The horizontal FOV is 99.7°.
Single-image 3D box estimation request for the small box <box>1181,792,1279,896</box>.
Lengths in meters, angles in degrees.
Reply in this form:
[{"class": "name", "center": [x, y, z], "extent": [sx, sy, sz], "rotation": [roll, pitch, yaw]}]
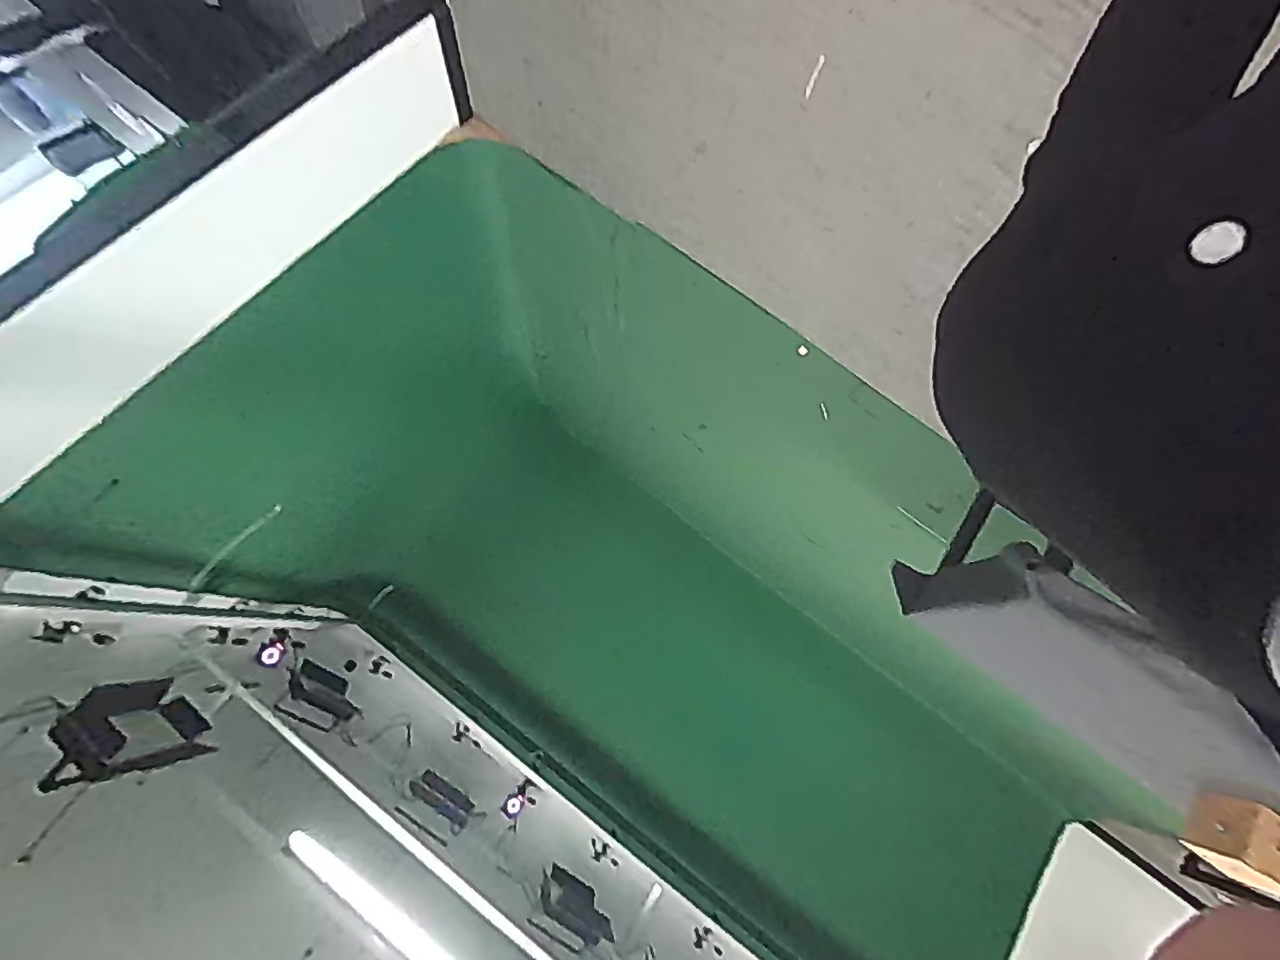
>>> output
[{"class": "small box", "center": [1.677, 1.001, 1.494], "extent": [0.168, 0.176, 0.179], "rotation": [37, 163, 8]}]
